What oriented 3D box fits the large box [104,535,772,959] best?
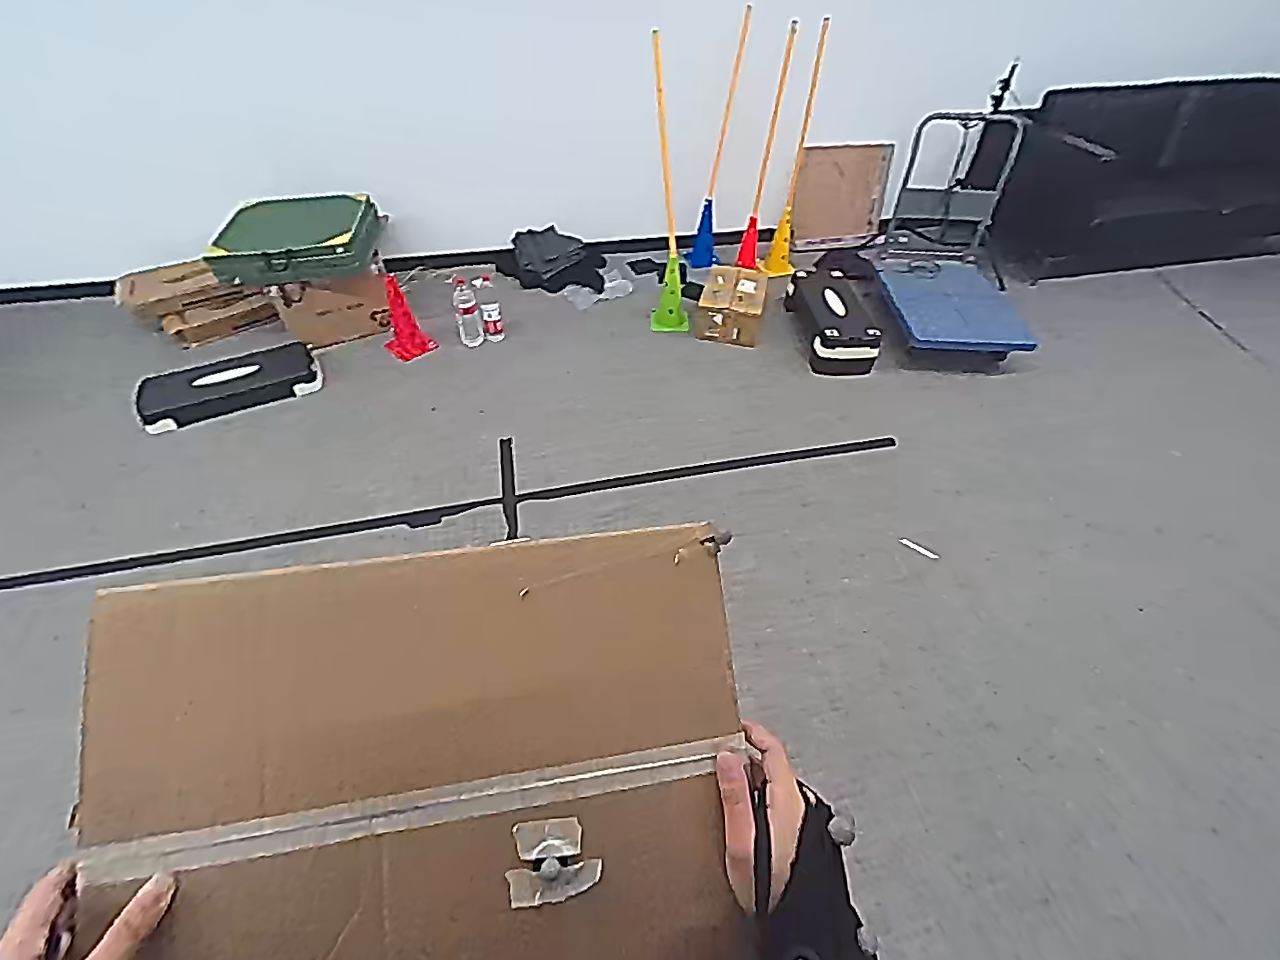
[{"bbox_3d":[-0.145,0.240,0.500,0.408,0.320,0.320,-6,81,-9],"label":"large box"}]
